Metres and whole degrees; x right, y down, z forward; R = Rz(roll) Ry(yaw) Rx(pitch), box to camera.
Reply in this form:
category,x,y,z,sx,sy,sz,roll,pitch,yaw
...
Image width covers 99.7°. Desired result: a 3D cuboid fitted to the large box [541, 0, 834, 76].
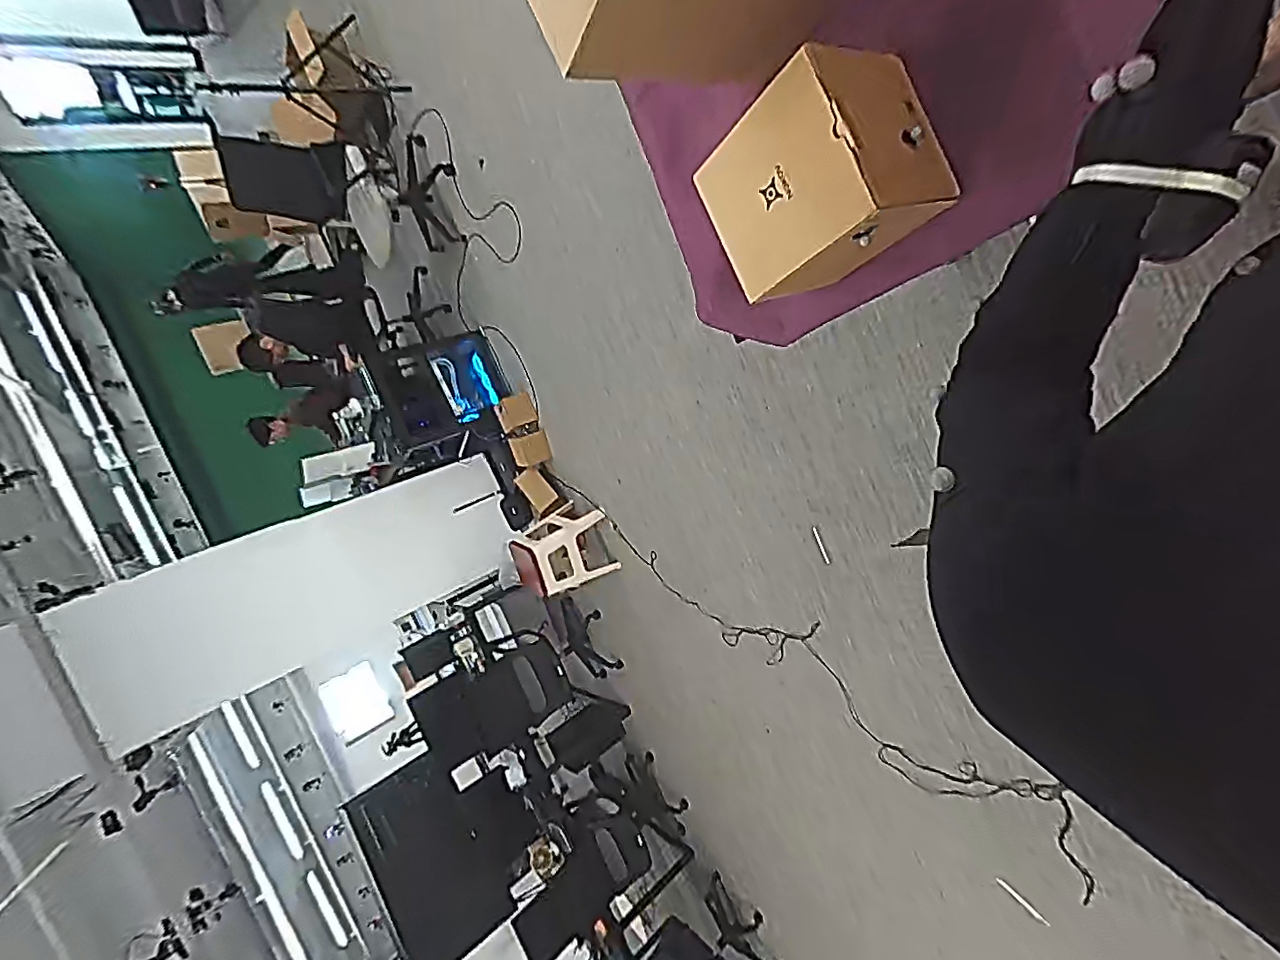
category,x,y,z,sx,sy,sz,roll,pitch,yaw
large box,0.038,-0.659,0.474,0.320,0.320,0.408,-23,94,58

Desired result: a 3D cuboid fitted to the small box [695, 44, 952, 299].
category,x,y,z,sx,sy,sz,roll,pitch,yaw
small box,0.199,-0.327,0.600,0.179,0.176,0.168,-26,89,57
